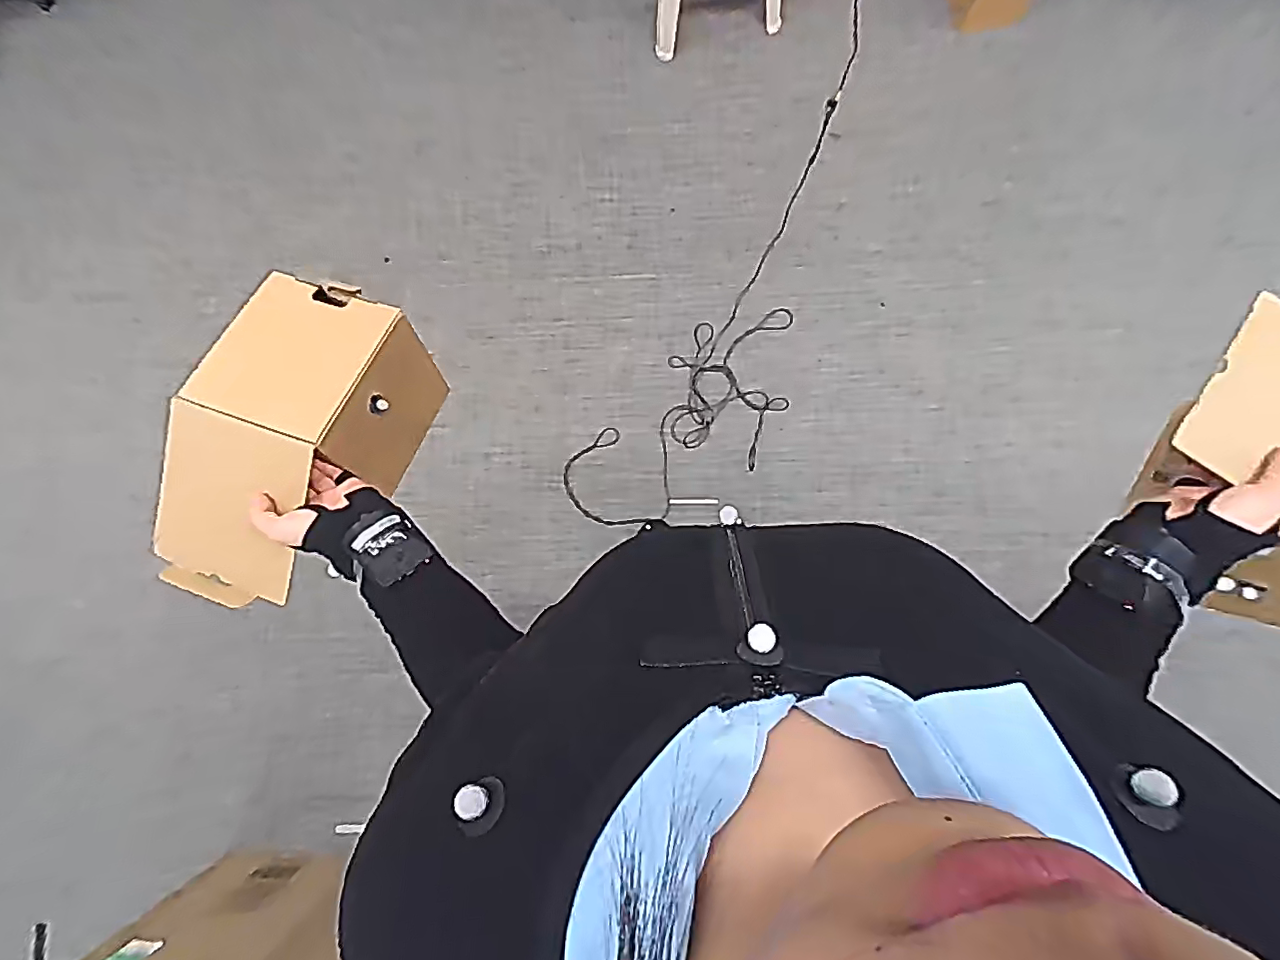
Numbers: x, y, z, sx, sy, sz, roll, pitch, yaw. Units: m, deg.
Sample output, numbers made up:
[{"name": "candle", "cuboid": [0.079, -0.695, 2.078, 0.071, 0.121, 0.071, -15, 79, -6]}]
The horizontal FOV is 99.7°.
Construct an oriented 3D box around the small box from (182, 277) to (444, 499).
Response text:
[{"name": "small box", "cuboid": [-0.360, -0.098, 0.641, 0.168, 0.176, 0.179, 18, 68, 7]}]
